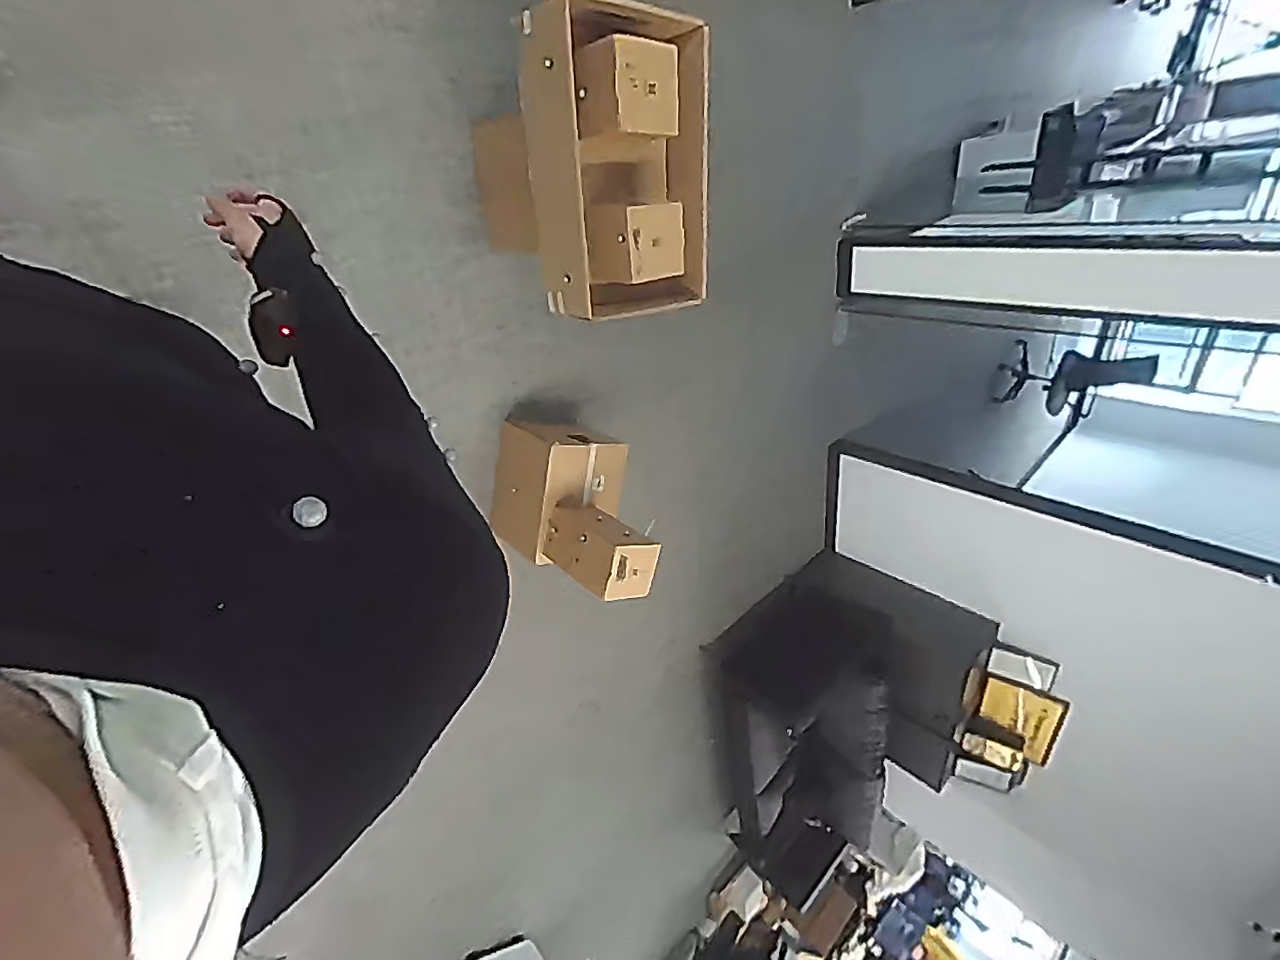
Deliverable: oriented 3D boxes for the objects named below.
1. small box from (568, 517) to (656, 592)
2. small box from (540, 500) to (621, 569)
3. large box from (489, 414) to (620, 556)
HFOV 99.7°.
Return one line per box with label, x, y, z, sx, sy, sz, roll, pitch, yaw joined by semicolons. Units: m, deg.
small box;-0.085;0.214;1.586;0.179;0.176;0.168;4;105;-45
small box;-0.188;0.166;1.704;0.179;0.176;0.168;4;105;-43
large box;-0.304;0.001;1.873;0.320;0.320;0.408;-5;112;-43
